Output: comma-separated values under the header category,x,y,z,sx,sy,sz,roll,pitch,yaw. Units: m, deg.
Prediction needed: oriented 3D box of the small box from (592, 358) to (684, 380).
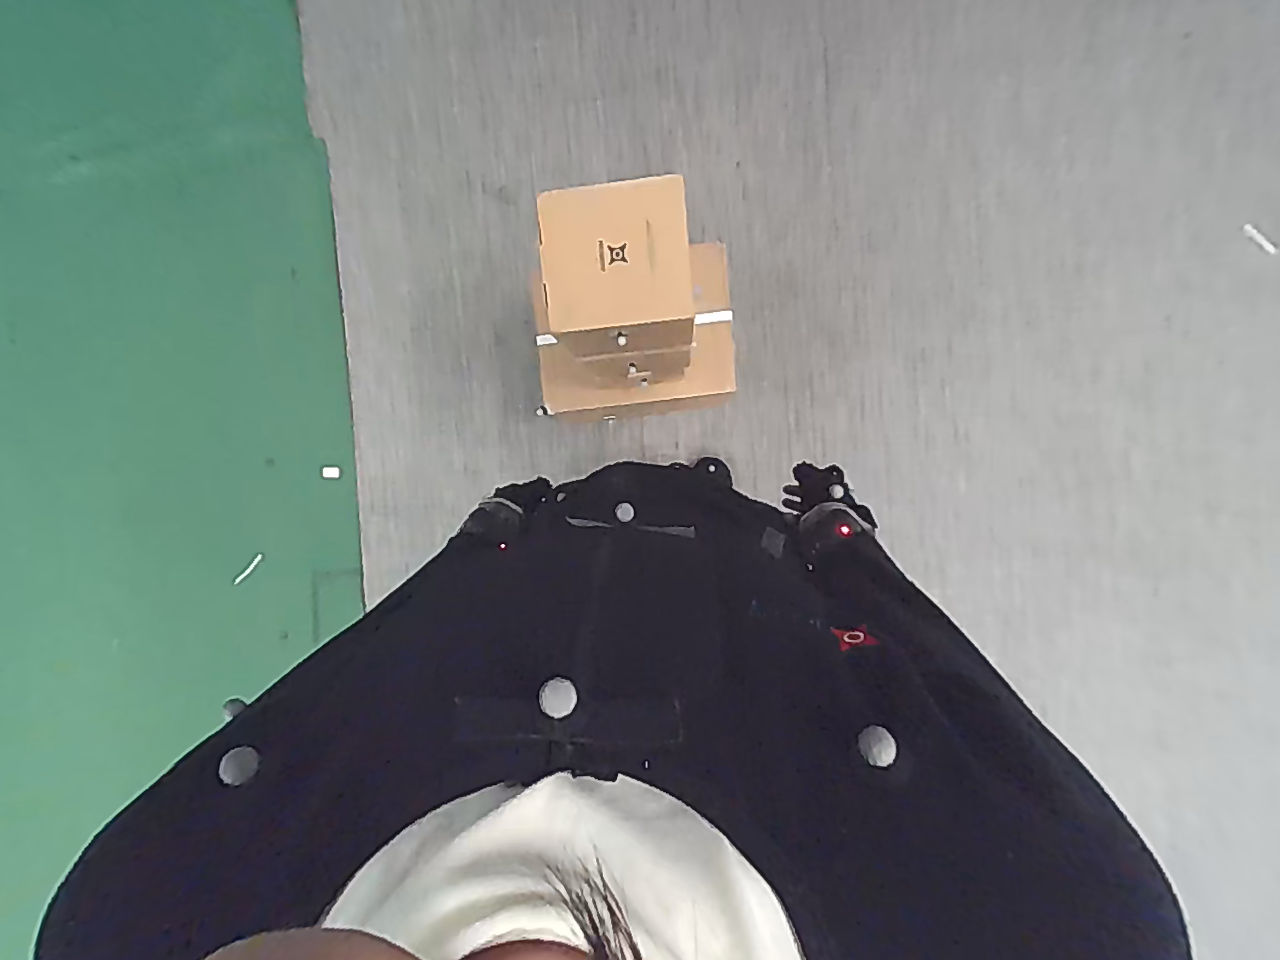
category,x,y,z,sx,sy,sz,roll,pitch,yaw
small box,-0.007,-0.289,1.033,0.168,0.176,0.179,-7,93,6

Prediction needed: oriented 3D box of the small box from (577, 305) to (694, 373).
category,x,y,z,sx,sy,sz,roll,pitch,yaw
small box,-0.012,-0.274,0.870,0.179,0.176,0.168,-8,93,4

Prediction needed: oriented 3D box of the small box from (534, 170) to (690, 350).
category,x,y,z,sx,sy,sz,roll,pitch,yaw
small box,-0.026,-0.272,0.708,0.179,0.176,0.168,-5,94,4
